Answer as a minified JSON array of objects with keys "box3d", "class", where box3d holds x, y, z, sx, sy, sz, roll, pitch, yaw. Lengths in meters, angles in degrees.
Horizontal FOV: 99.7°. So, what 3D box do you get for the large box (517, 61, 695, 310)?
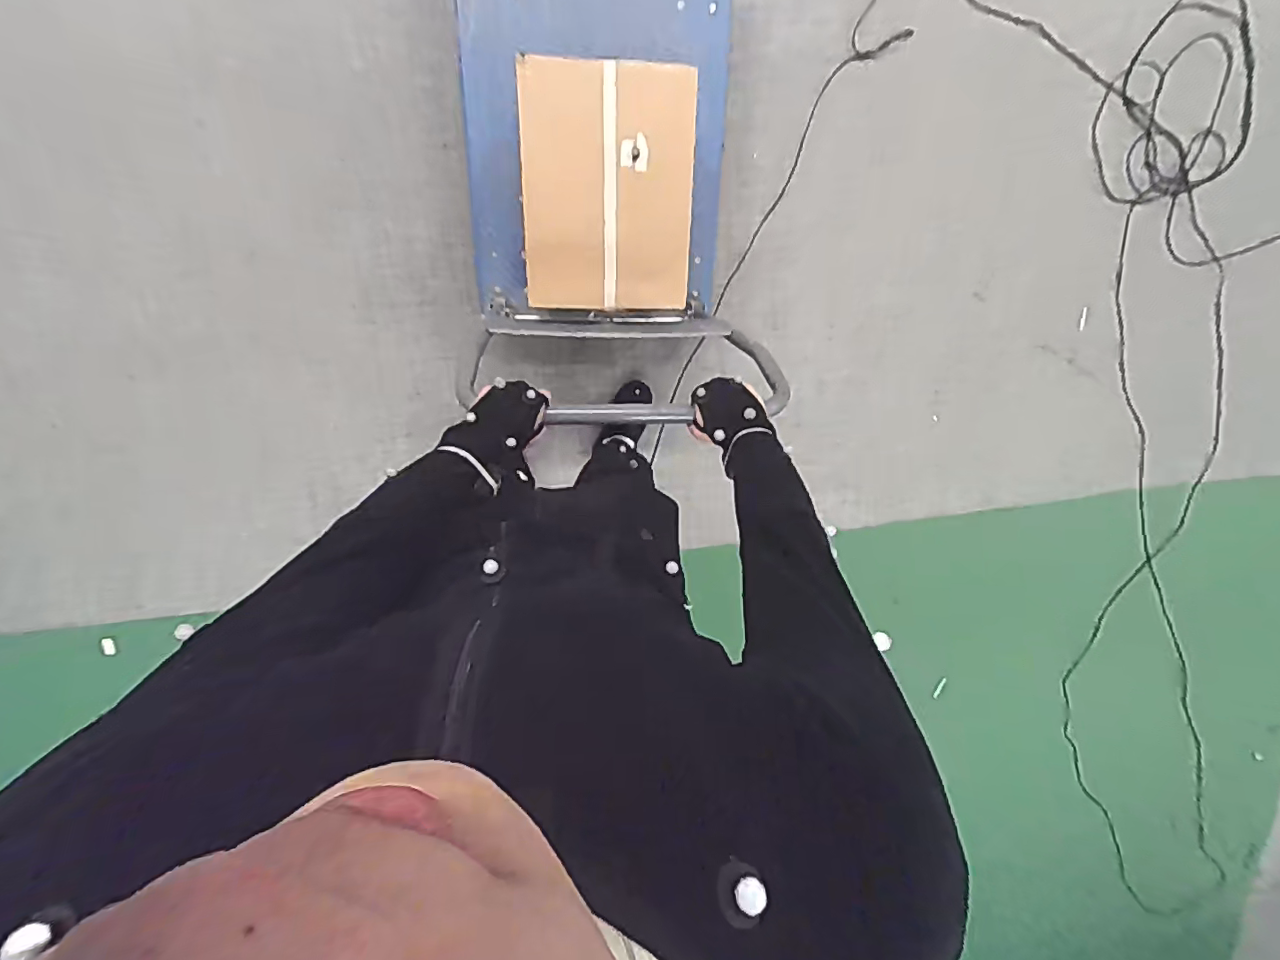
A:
[{"box3d":[-0.072,-0.574,1.130,0.320,0.320,0.408,-2,111,-7],"class":"large box"}]
